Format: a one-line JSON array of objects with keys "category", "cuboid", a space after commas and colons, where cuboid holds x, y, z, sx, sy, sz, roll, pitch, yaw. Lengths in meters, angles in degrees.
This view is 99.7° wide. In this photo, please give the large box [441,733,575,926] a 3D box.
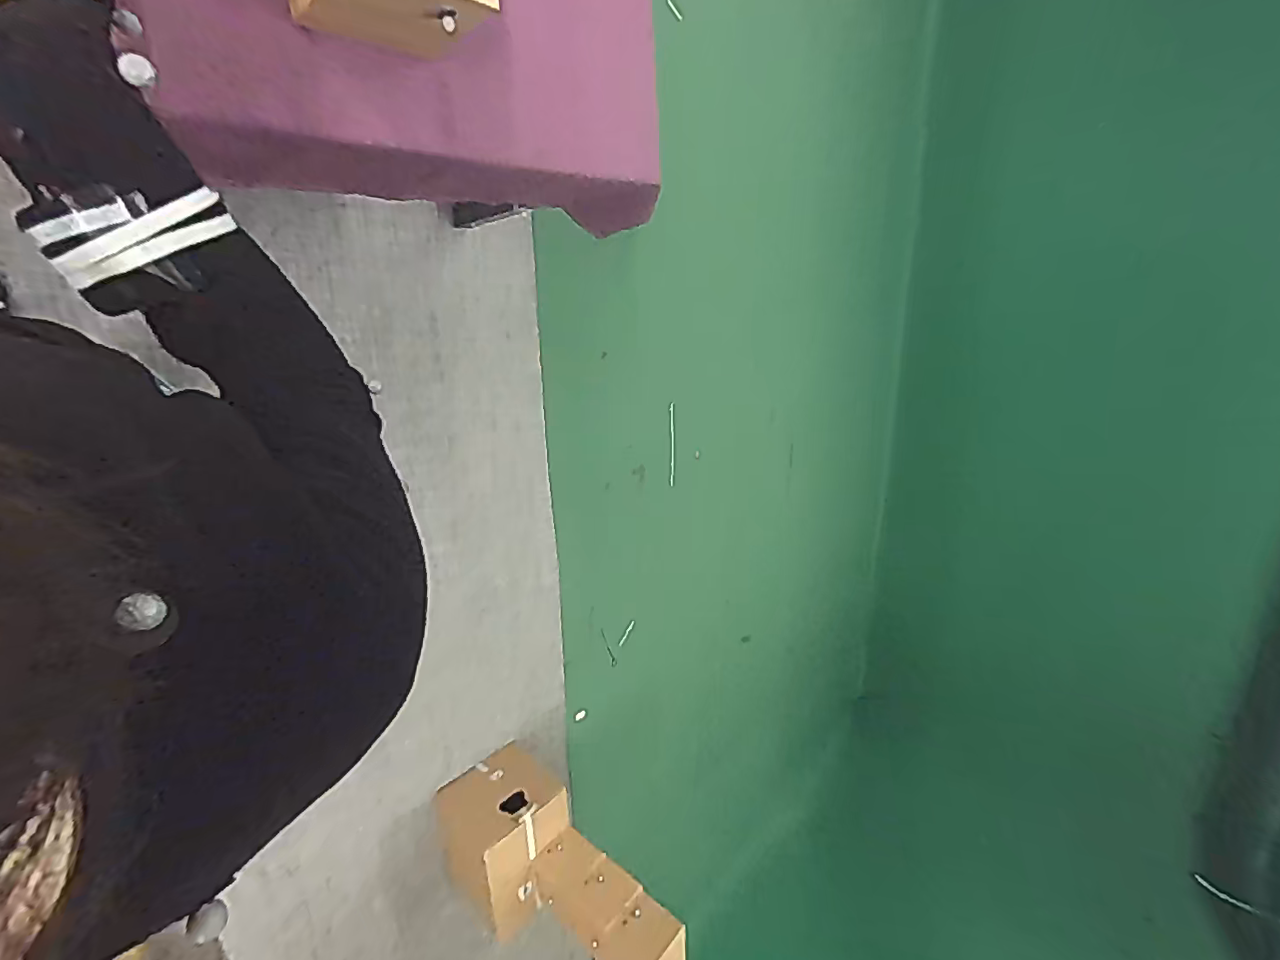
[{"category": "large box", "cuboid": [-0.455, 1.192, 1.882, 0.320, 0.320, 0.408, -19, 115, -42]}]

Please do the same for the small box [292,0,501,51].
[{"category": "small box", "cuboid": [-0.283, -0.614, 0.599, 0.179, 0.176, 0.168, -21, 115, -41]}]

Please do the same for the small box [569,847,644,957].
[{"category": "small box", "cuboid": [-0.103, 1.302, 1.682, 0.168, 0.176, 0.179, -21, 115, -45]}]

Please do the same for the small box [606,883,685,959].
[{"category": "small box", "cuboid": [0.015, 1.339, 1.576, 0.168, 0.176, 0.179, -19, 113, -46]}]
